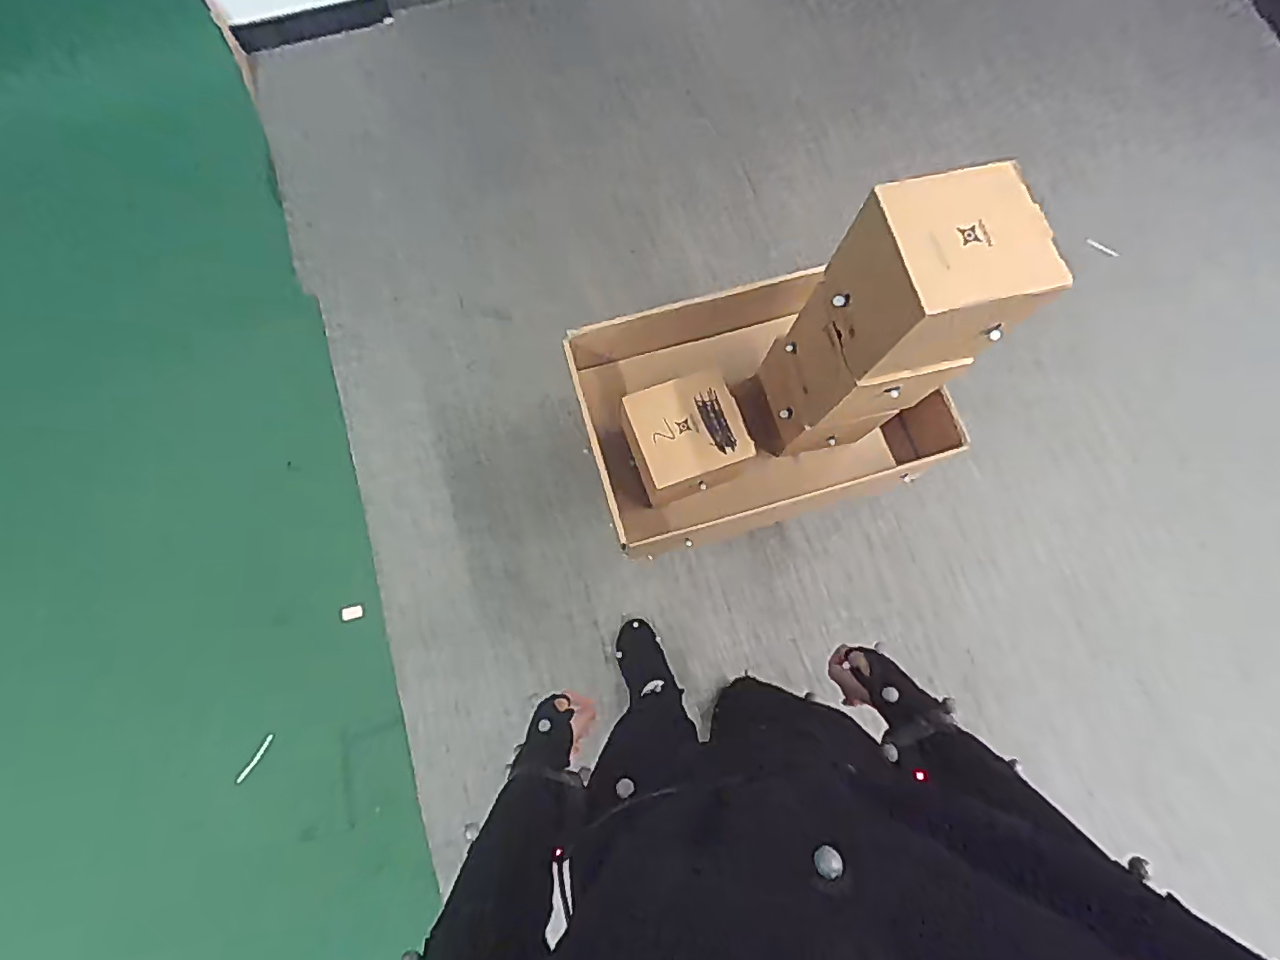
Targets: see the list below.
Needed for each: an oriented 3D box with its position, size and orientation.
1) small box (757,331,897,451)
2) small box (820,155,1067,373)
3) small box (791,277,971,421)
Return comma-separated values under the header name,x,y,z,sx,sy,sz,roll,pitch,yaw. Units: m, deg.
name,x,y,z,sx,sy,sz,roll,pitch,yaw
small box,0.326,-0.161,0.976,0.168,0.176,0.179,-11,76,-4
small box,0.350,-0.252,0.662,0.179,0.176,0.168,-13,76,-4
small box,0.344,-0.203,0.817,0.179,0.176,0.168,-13,77,-5
